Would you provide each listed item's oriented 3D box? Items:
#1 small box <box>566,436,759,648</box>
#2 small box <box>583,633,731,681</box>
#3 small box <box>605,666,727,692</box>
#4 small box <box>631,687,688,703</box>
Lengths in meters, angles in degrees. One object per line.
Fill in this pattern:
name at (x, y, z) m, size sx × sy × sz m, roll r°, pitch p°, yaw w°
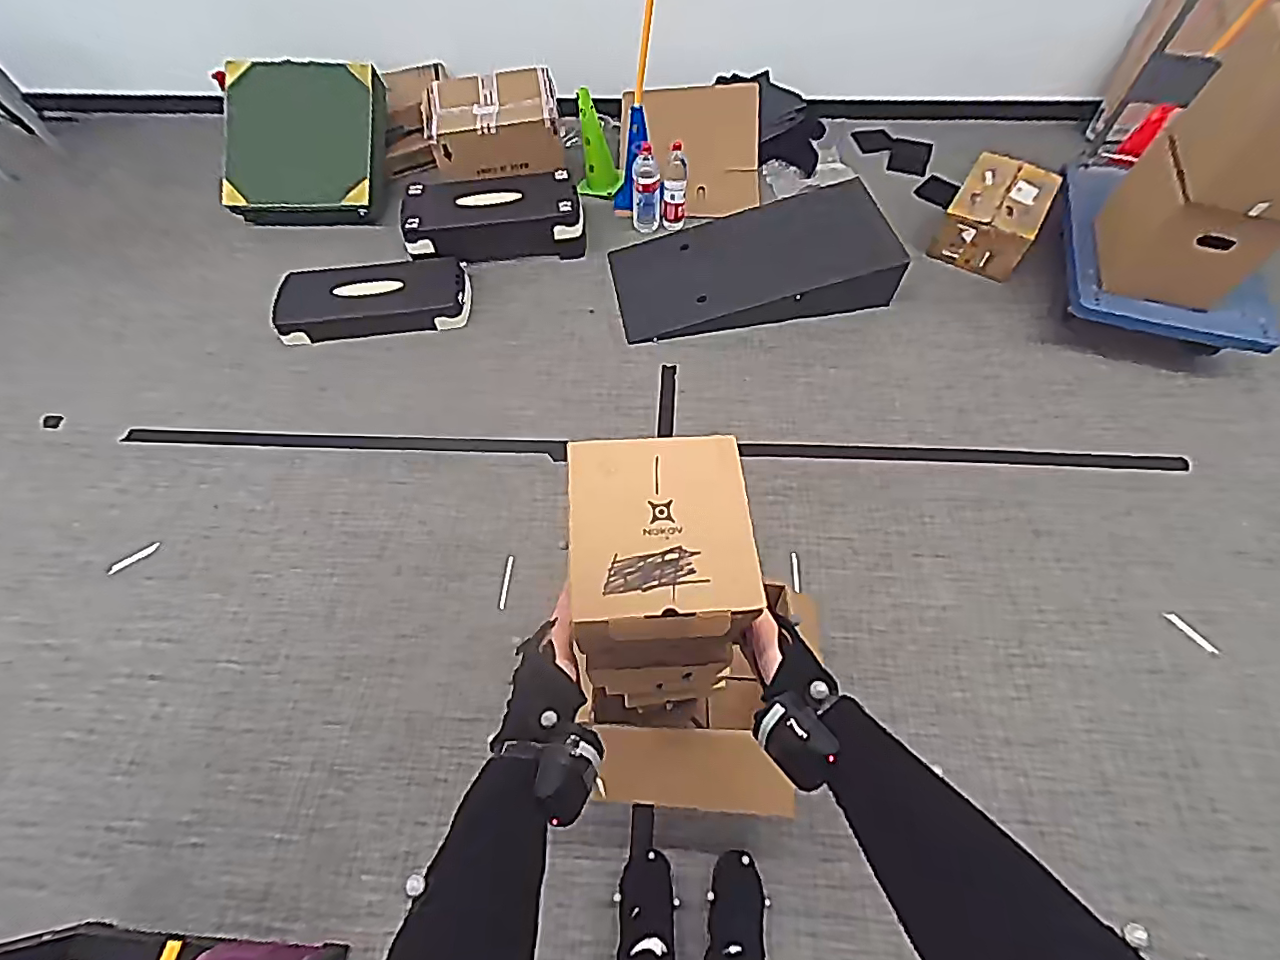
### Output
small box at (0.013, 0.073, 0.557) m, size 0.168 × 0.176 × 0.179 m, roll -2°, pitch 63°, yaw -4°
small box at (0.015, 0.161, 0.696) m, size 0.168 × 0.176 × 0.179 m, roll -1°, pitch 64°, yaw -3°
small box at (0.028, 0.233, 0.843) m, size 0.179 × 0.176 × 0.168 m, roll -2°, pitch 65°, yaw -3°
small box at (0.048, 0.361, 1.147) m, size 0.179 × 0.176 × 0.168 m, roll -15°, pitch 65°, yaw -10°
